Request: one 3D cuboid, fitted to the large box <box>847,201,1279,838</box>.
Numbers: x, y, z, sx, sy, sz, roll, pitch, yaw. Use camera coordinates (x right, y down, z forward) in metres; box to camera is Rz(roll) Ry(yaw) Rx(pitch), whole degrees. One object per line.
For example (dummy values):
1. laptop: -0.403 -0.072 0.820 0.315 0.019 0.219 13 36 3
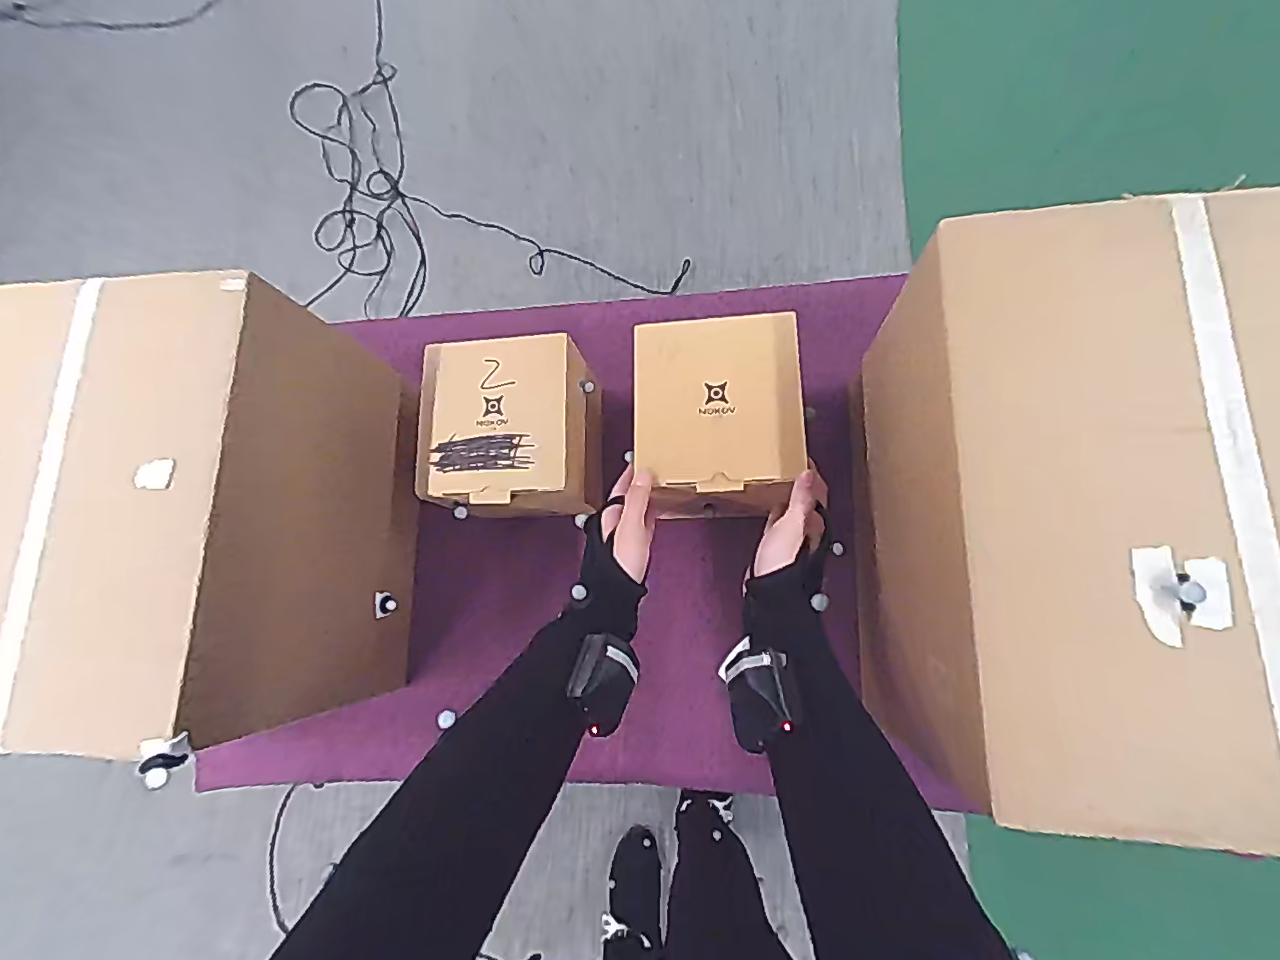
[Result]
1. large box: 0.390 0.032 0.481 0.320 0.320 0.408 -1 79 9
